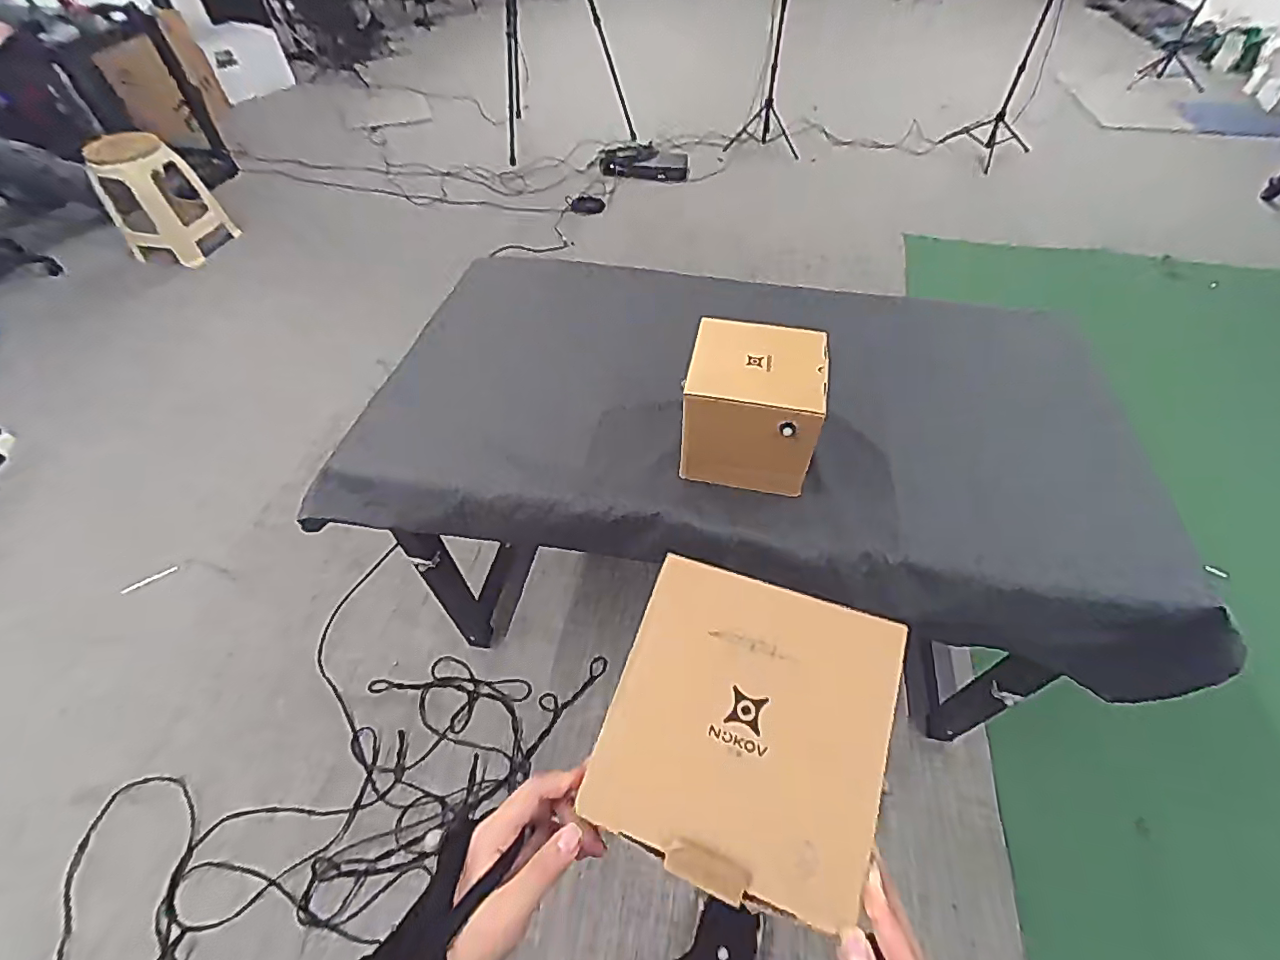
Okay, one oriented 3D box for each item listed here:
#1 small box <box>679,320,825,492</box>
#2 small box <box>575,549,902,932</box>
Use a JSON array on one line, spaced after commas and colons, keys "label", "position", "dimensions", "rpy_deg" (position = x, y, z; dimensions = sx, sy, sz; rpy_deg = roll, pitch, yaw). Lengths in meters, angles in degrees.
[{"label": "small box", "position": [0.153, -0.102, 0.765], "dimensions": [0.179, 0.176, 0.168], "rpy_deg": [9, 52, 8]}, {"label": "small box", "position": [0.076, 0.180, 0.405], "dimensions": [0.168, 0.176, 0.179], "rpy_deg": [15, 65, 16]}]
